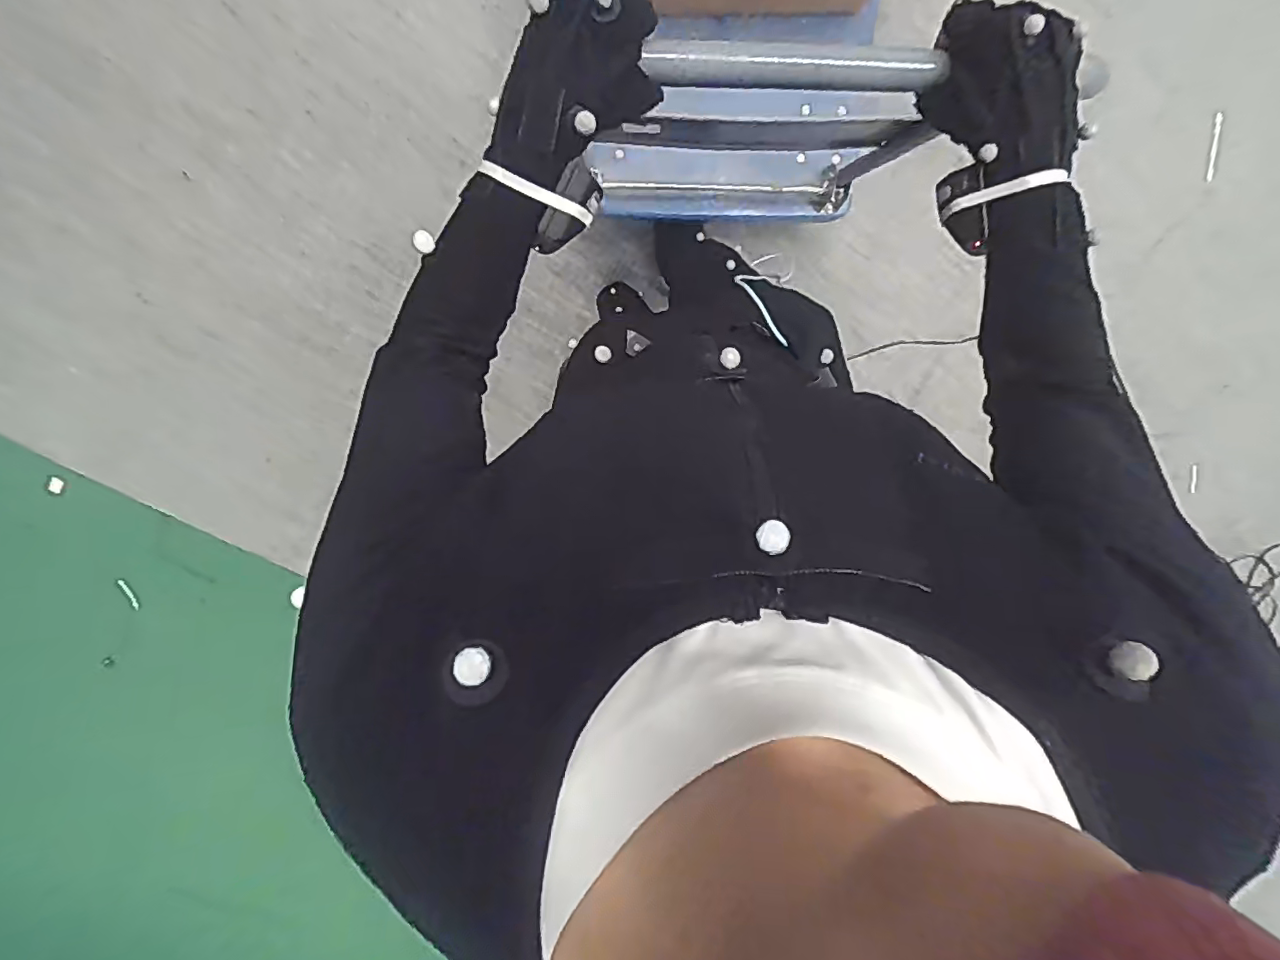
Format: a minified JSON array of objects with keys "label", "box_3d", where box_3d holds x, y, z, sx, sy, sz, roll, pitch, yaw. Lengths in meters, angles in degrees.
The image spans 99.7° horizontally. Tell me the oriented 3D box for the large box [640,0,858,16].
[{"label":"large box","box_3d":[0.194,-0.938,0.788,0.408,0.320,0.320,-2,110,1]}]
